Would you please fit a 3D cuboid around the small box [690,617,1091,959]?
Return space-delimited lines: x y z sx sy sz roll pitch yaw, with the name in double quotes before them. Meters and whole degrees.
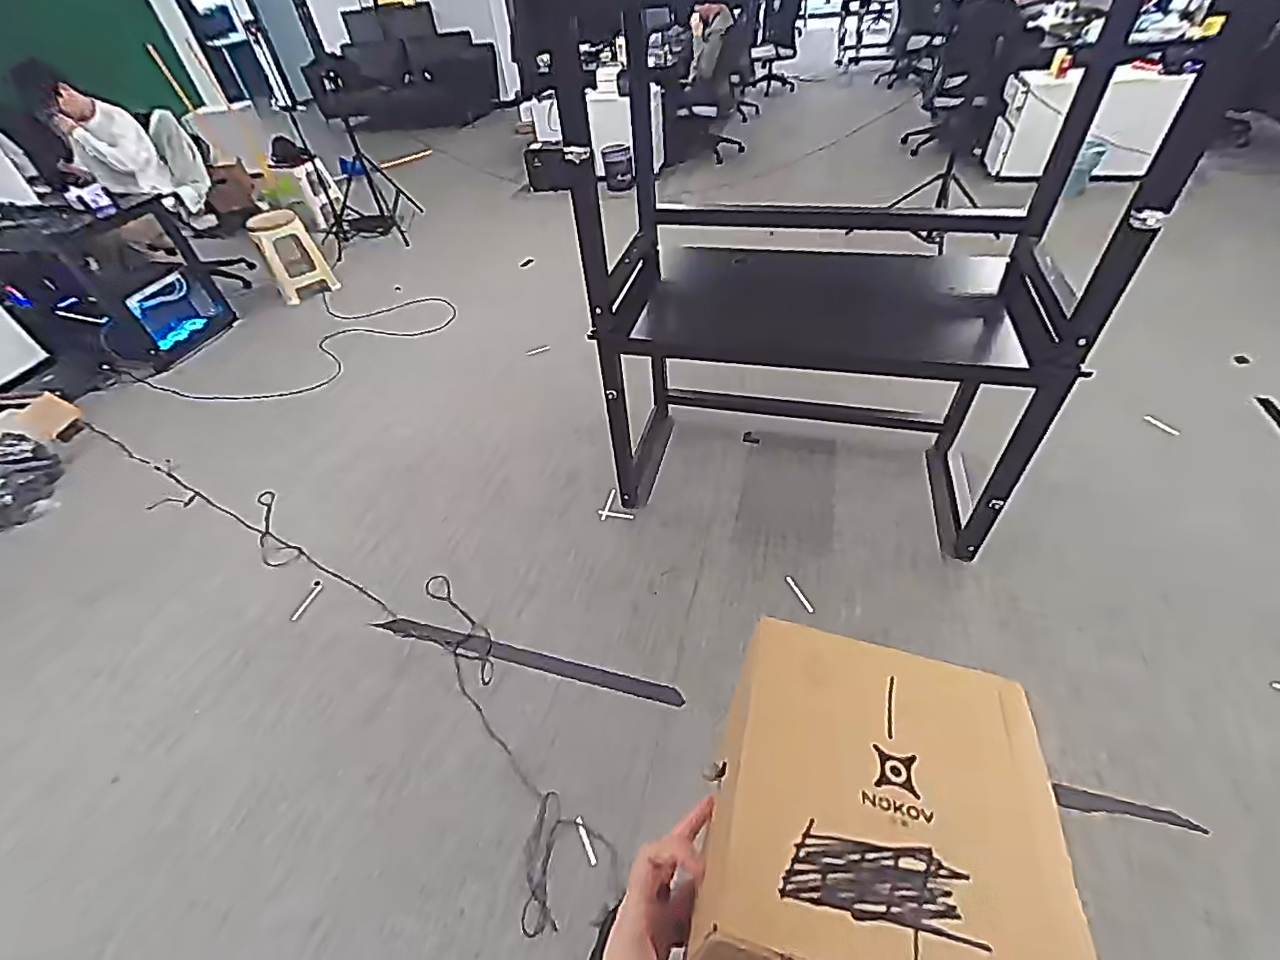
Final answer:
"small box" 0.130 0.222 0.339 0.168 0.176 0.179 13 42 11
